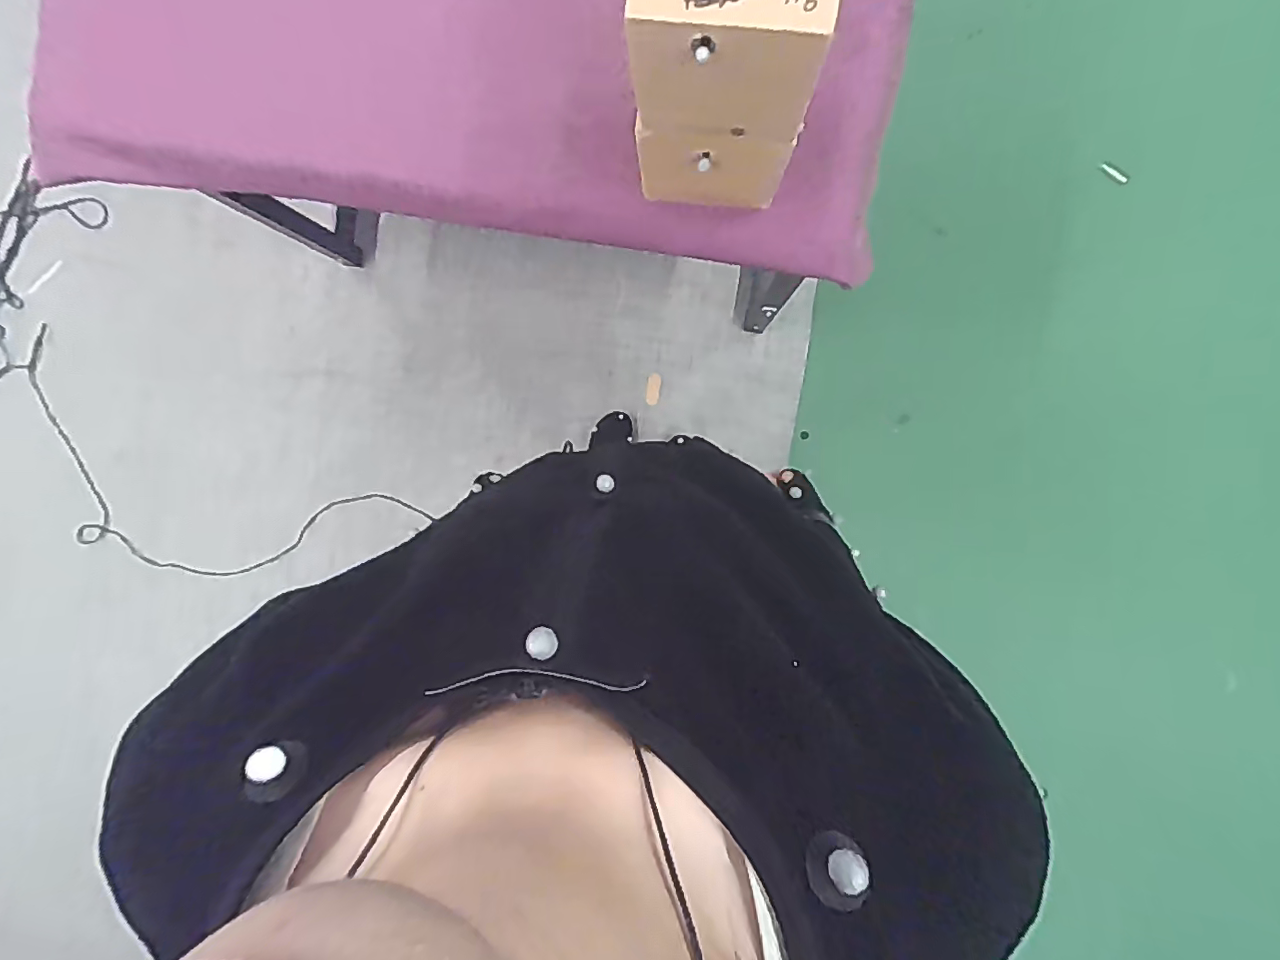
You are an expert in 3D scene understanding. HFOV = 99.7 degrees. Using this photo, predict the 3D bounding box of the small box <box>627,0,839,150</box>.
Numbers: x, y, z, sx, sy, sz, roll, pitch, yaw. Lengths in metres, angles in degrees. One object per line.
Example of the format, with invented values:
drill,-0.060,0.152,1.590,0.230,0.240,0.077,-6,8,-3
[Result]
small box,0.089,-0.443,0.495,0.168,0.176,0.179,8,95,6

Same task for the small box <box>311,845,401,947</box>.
small box,-0.806,1.187,1.552,0.179,0.176,0.168,0,94,5

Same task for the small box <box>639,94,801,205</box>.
small box,0.102,-0.454,0.658,0.179,0.176,0.168,8,96,6
